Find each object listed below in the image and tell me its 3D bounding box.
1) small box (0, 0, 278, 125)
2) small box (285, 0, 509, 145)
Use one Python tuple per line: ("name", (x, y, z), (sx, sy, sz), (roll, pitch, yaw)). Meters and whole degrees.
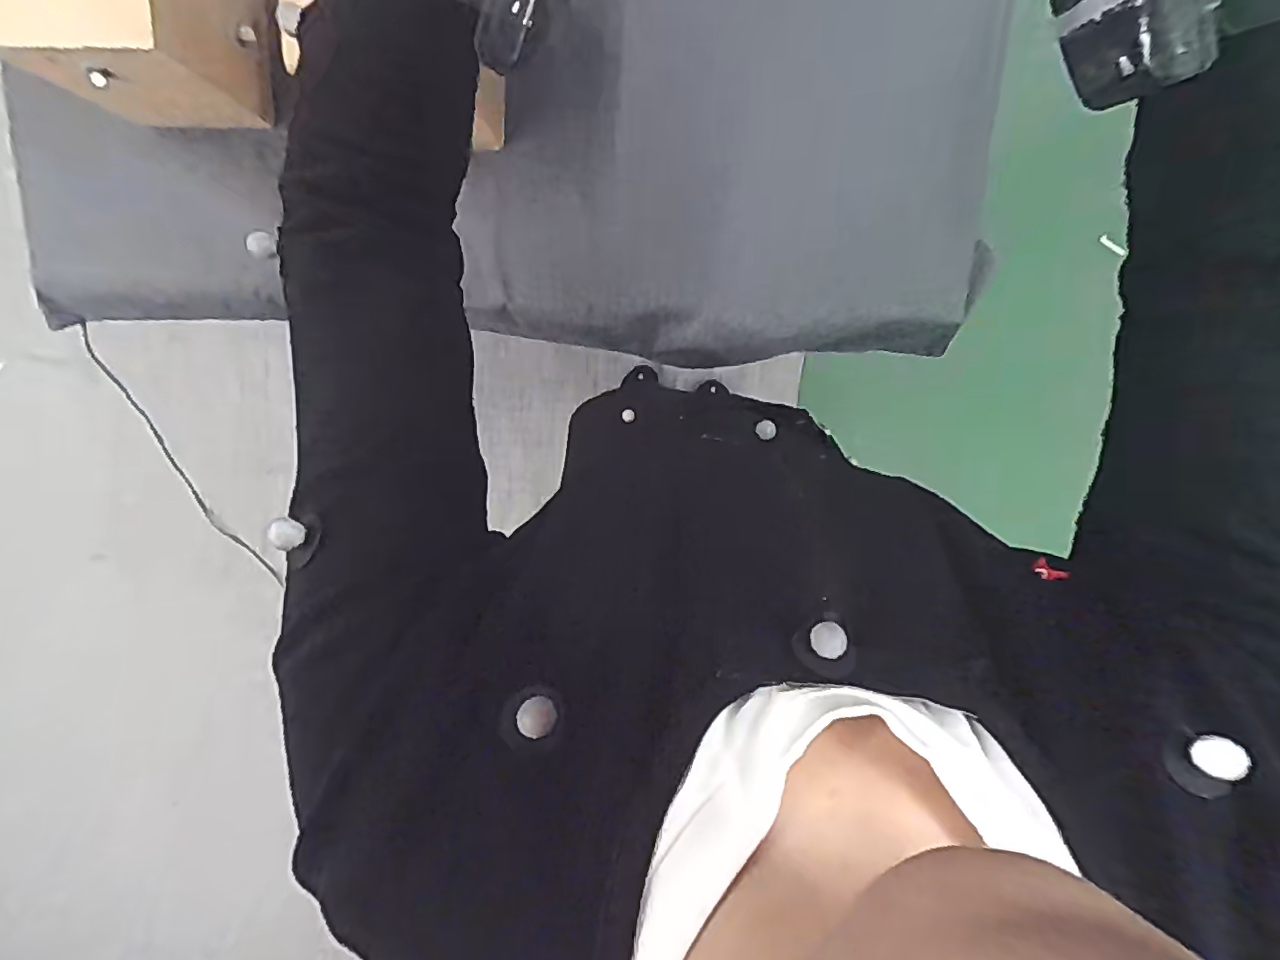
("small box", (-0.536, -0.511, 0.583), (0.179, 0.176, 0.168), (2, 101, 1))
("small box", (-0.244, -0.485, 0.576), (0.168, 0.176, 0.179), (4, 101, 2))
